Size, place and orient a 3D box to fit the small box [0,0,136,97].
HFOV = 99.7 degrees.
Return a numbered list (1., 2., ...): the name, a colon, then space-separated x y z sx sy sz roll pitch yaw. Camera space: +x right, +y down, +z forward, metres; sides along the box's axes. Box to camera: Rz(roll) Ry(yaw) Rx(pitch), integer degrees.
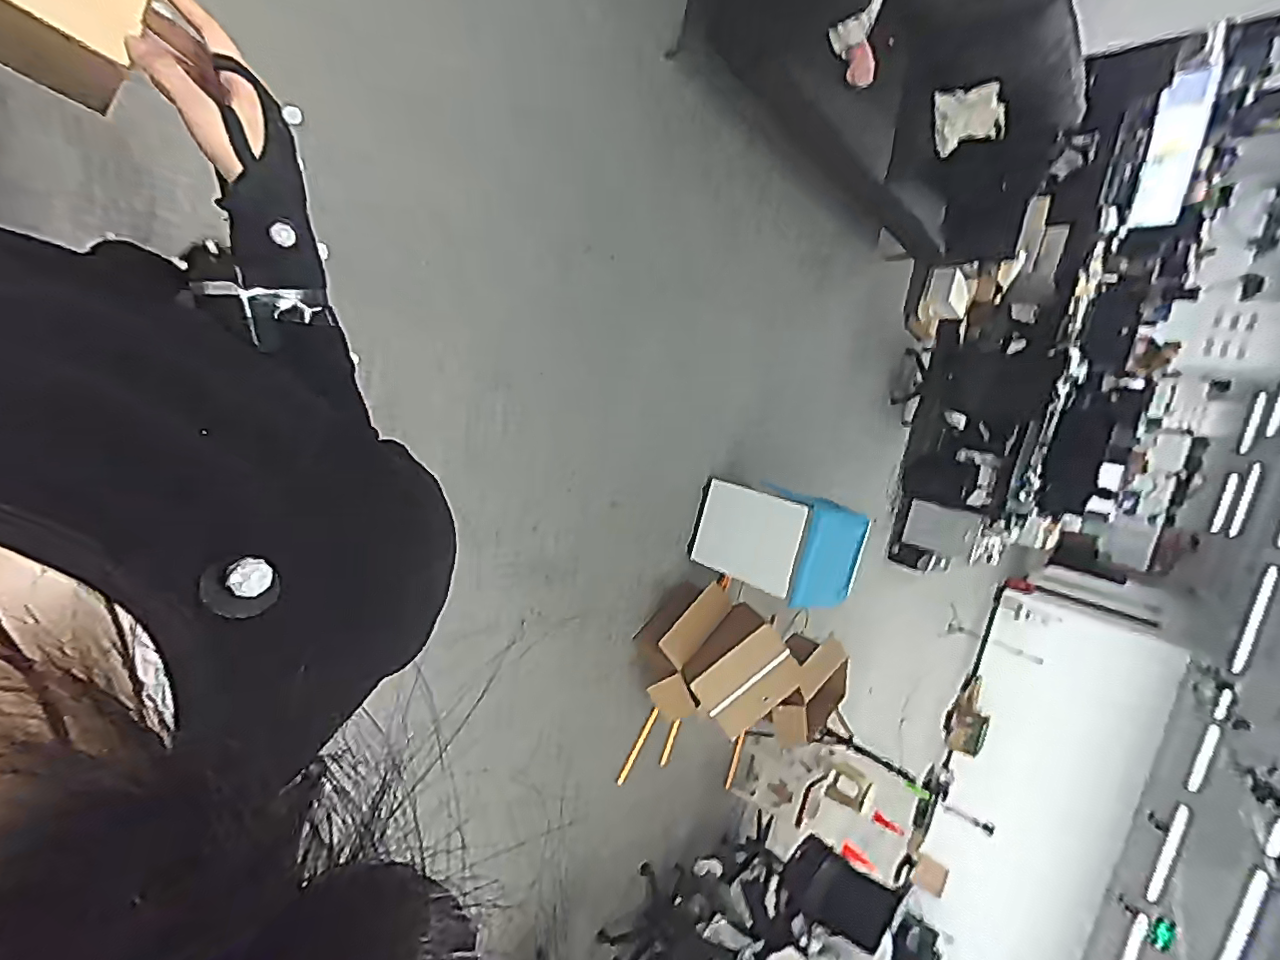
1. small box: -0.411 -0.370 0.318 0.179 0.176 0.168 15 92 -50
